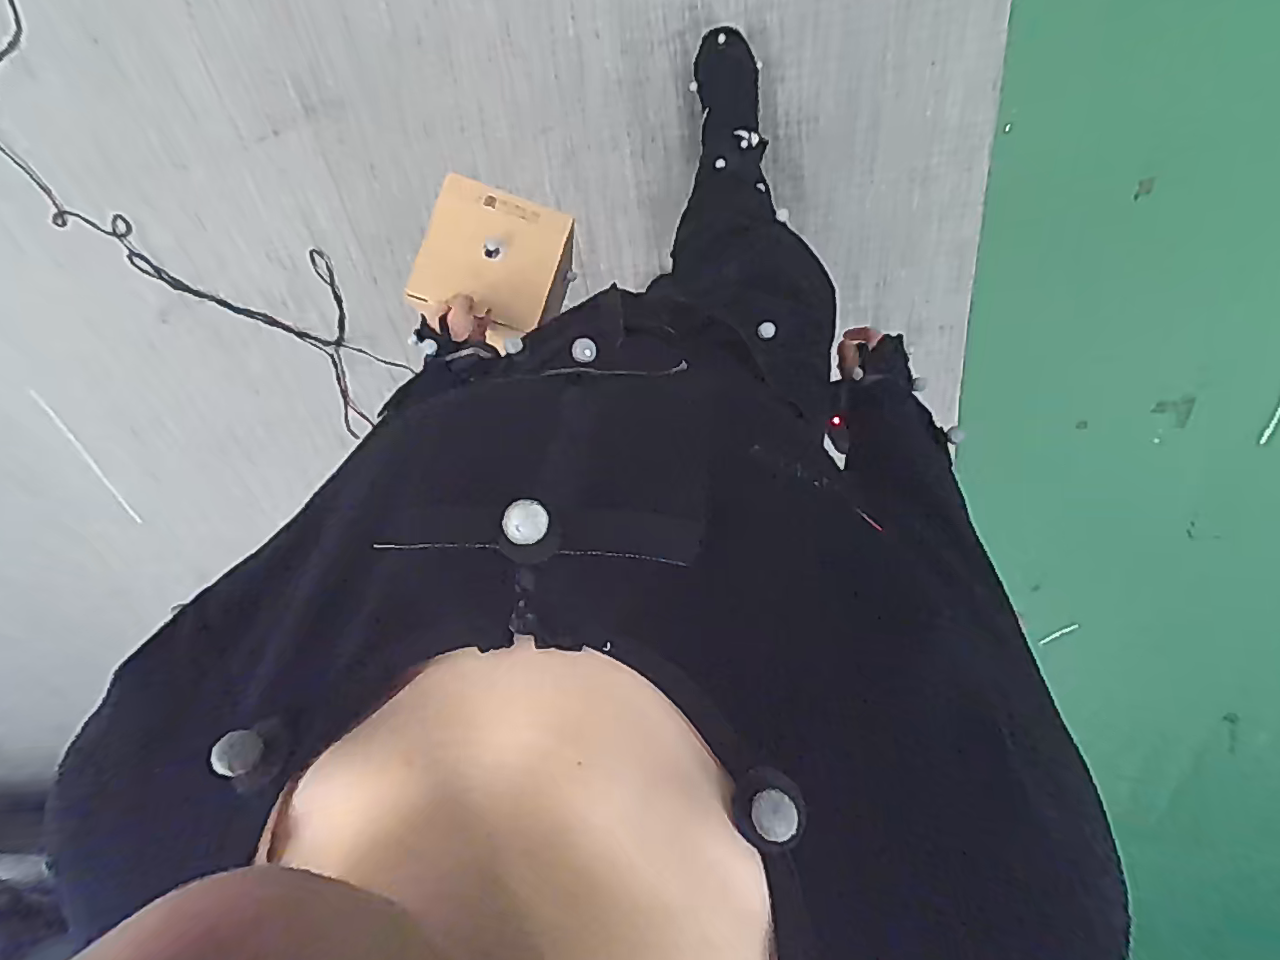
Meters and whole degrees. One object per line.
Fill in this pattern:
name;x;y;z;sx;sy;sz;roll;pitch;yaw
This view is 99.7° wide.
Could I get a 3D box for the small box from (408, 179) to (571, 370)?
small box;-0.199;-0.278;0.756;0.168;0.179;0.176;16;83;-7
